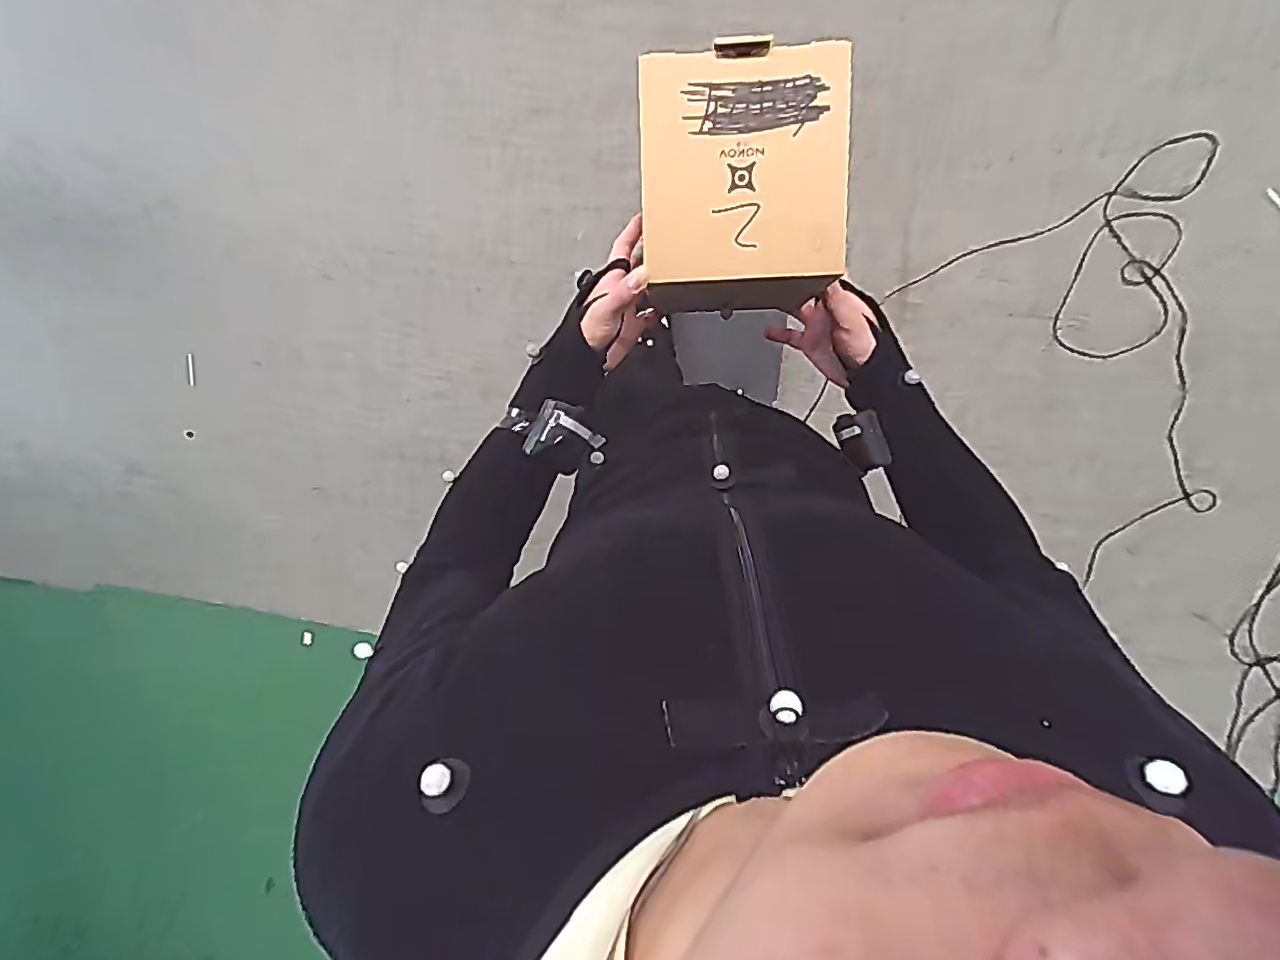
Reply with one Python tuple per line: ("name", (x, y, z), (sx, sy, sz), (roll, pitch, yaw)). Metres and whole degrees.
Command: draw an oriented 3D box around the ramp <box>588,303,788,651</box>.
("ramp", (0.136, -0.014, 1.614), (0.509, 0.206, 0.991), (6, 101, 8))
